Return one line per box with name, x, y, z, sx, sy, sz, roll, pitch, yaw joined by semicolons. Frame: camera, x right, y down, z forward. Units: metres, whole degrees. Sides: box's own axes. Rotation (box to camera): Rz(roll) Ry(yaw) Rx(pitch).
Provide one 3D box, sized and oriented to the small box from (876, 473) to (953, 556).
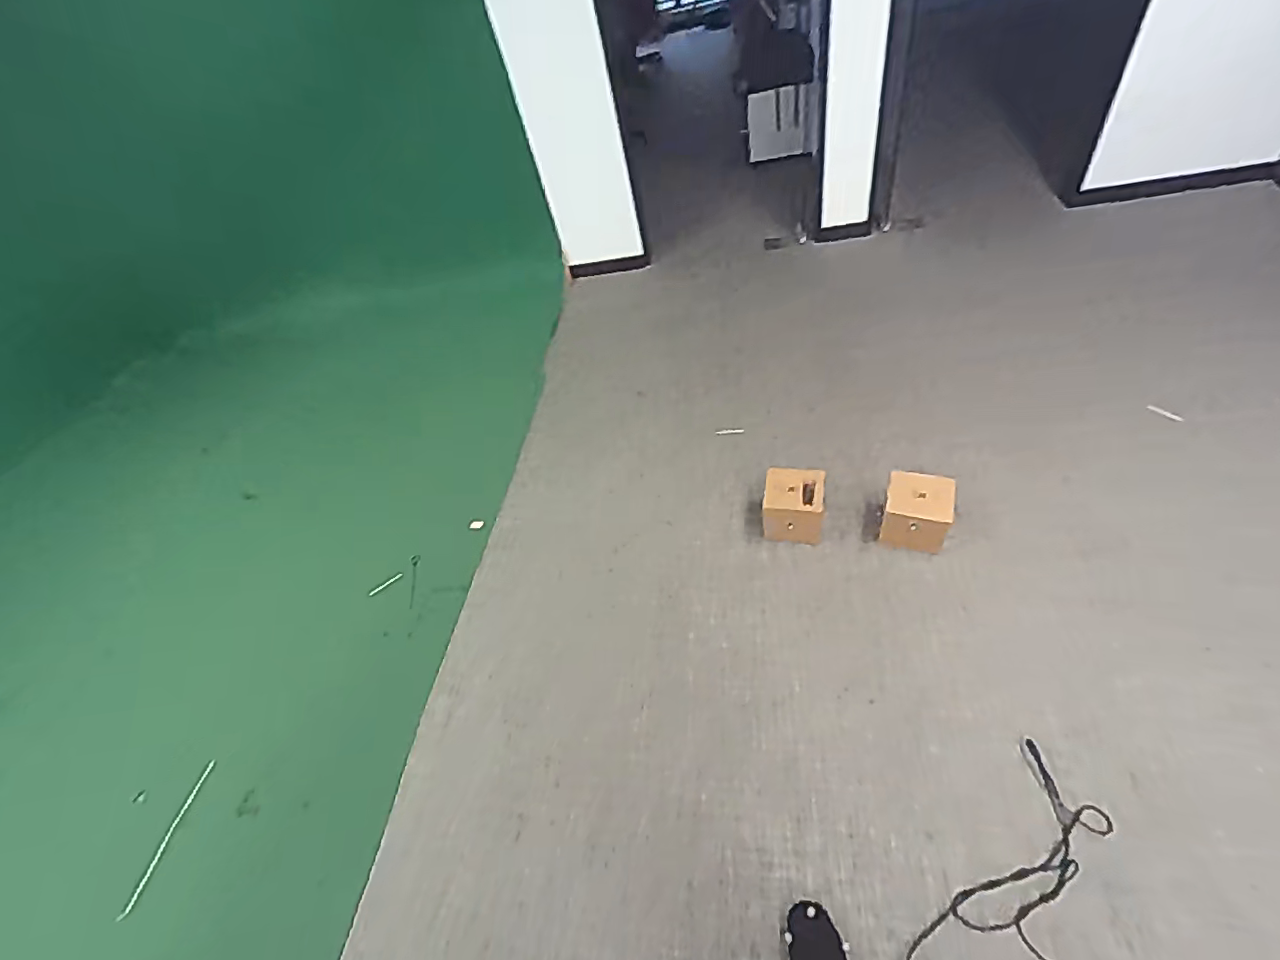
small box;0.819;0.106;1.622;0.179;0.176;0.168;11;53;23
